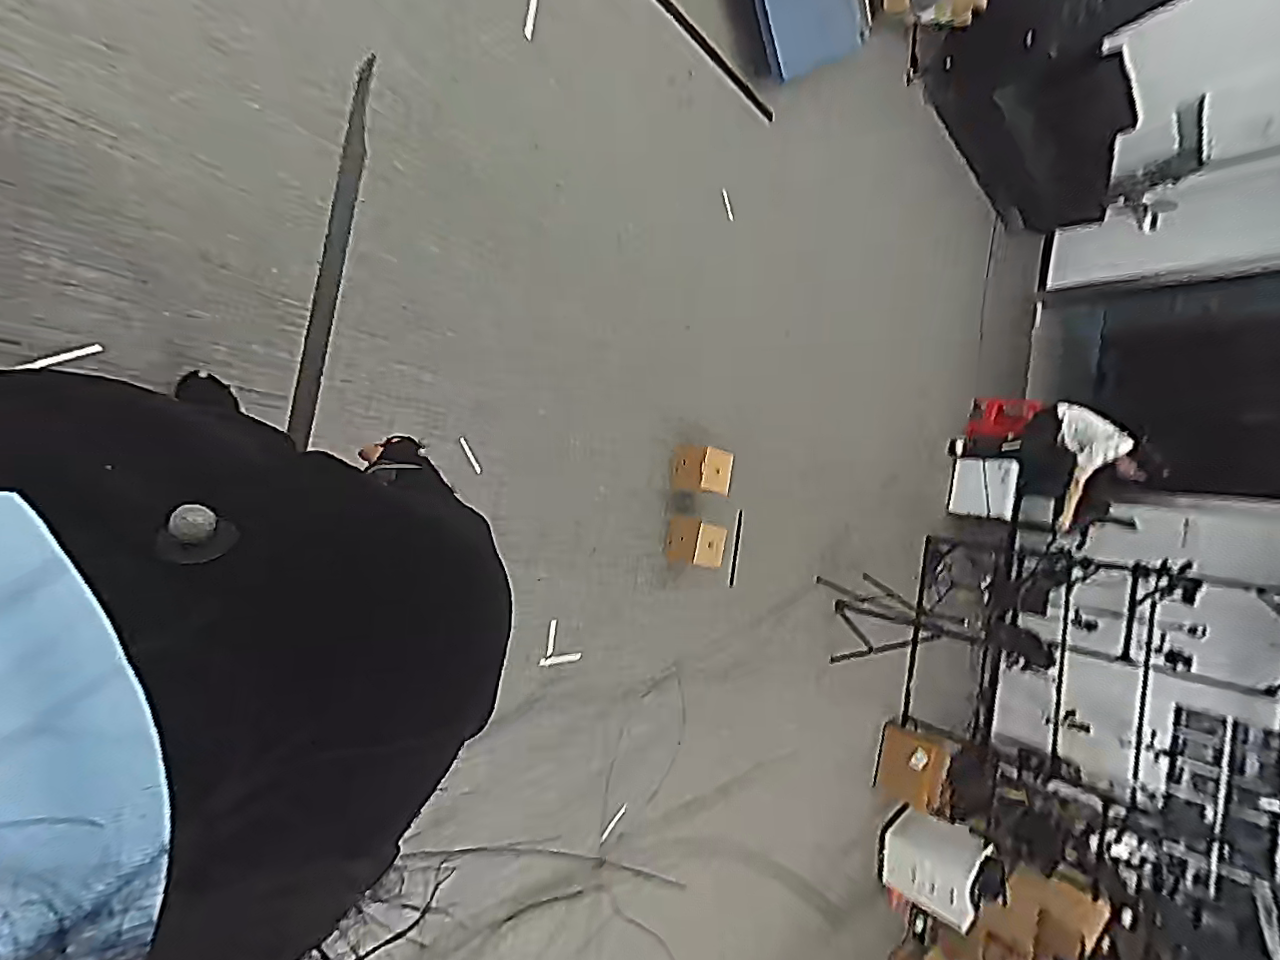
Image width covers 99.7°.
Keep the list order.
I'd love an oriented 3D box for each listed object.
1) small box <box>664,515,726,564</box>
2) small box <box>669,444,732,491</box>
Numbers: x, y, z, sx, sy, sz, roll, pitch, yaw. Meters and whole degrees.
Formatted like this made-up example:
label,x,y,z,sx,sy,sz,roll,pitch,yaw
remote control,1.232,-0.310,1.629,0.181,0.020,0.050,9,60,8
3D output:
label,x,y,z,sx,sy,sz,roll,pitch,yaw
small box,0.223,0.244,2.226,0.179,0.176,0.168,16,84,-43
small box,0.248,-0.053,2.222,0.179,0.176,0.168,12,86,-43
